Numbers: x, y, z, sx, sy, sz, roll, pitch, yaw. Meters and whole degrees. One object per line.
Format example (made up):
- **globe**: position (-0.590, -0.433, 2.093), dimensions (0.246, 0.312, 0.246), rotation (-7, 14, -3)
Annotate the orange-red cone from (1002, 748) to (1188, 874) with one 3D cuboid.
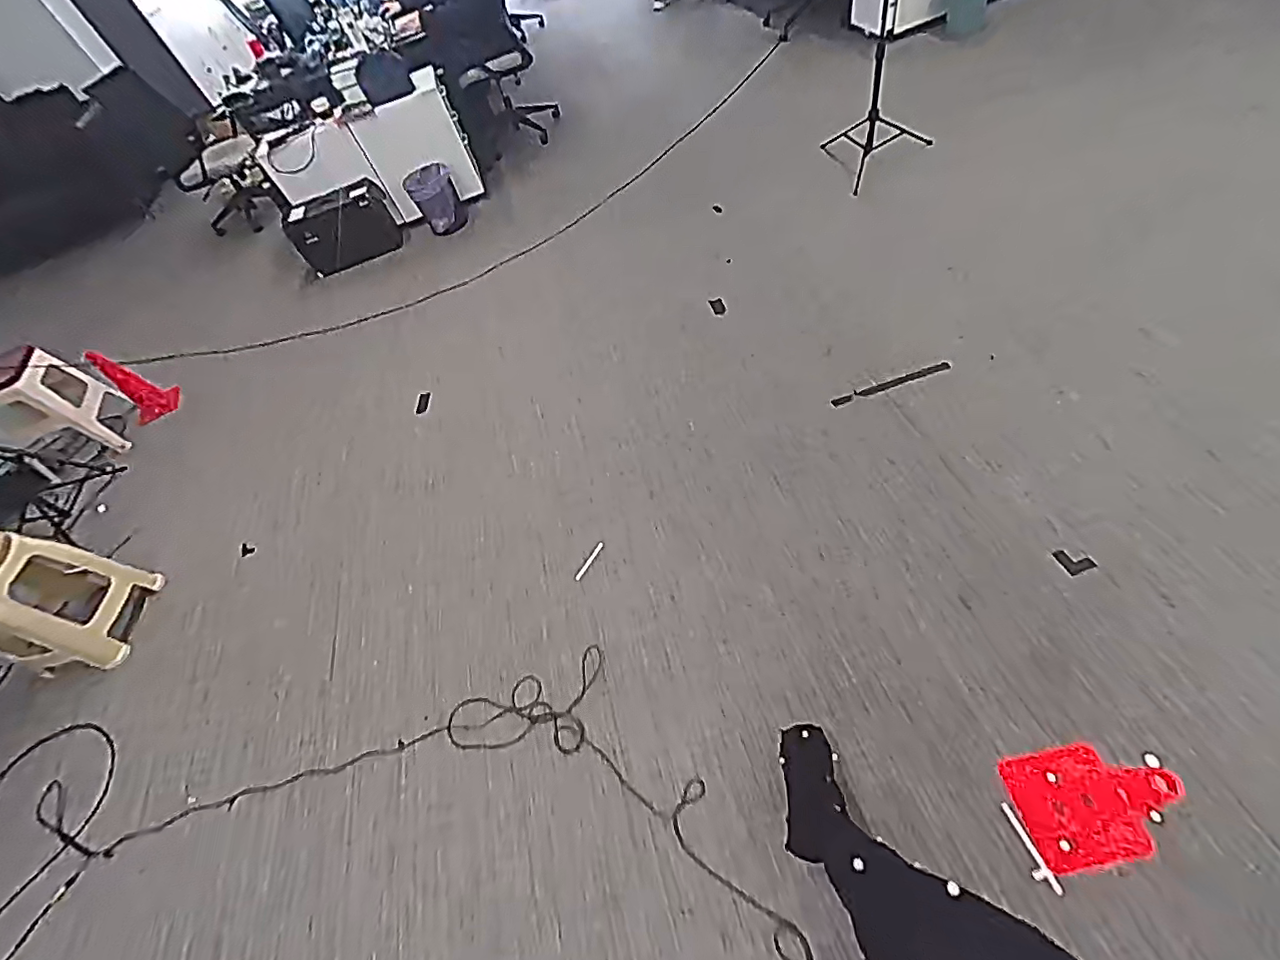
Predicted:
- **orange-red cone**: position (0.817, 0.548, 0.928), dimensions (0.199, 0.360, 0.198), rotation (-14, 53, 4)
